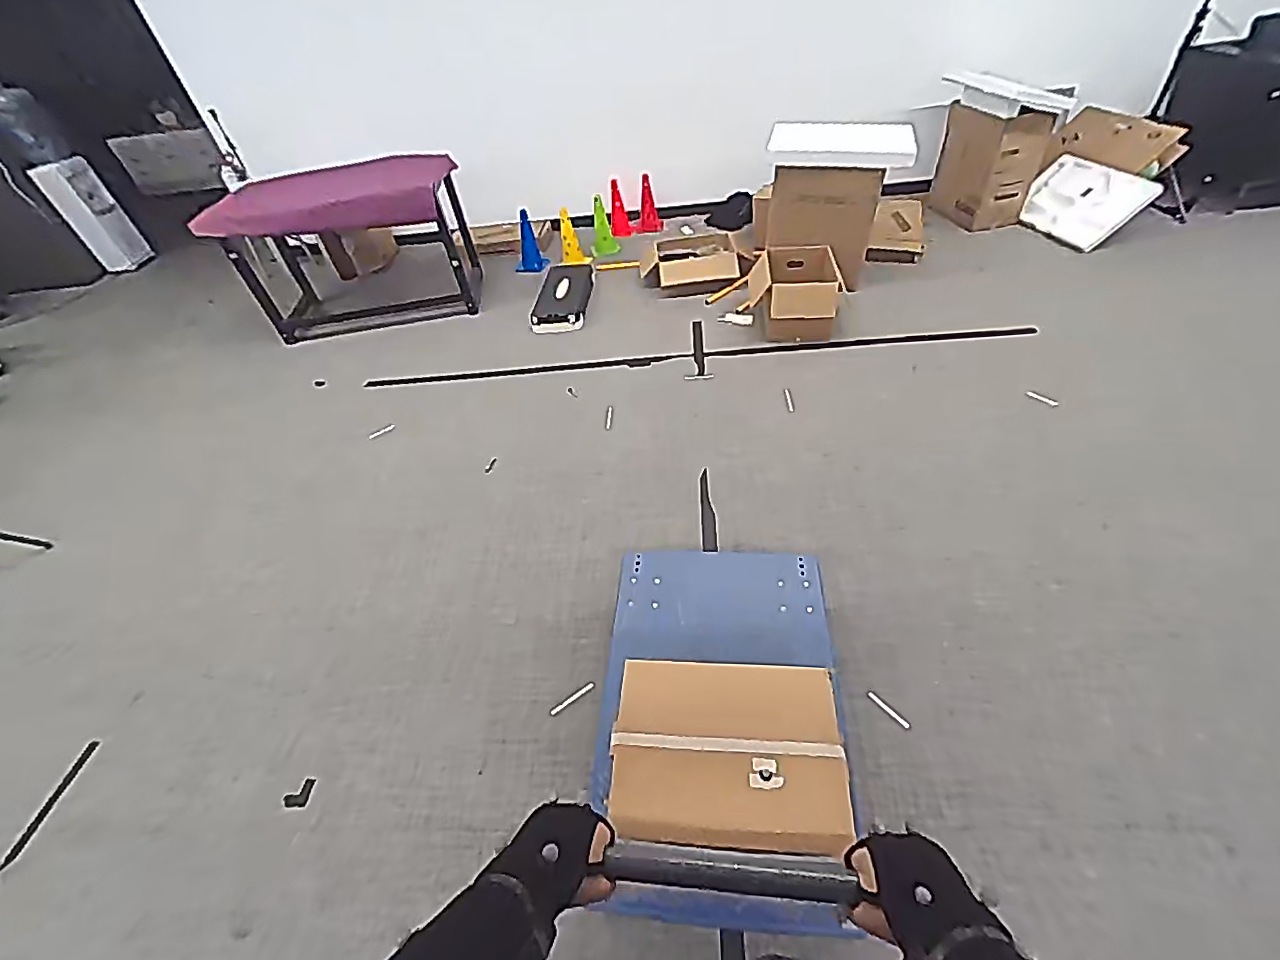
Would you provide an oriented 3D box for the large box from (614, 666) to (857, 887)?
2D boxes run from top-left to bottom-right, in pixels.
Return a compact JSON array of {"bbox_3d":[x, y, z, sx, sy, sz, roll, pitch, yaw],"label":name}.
[{"bbox_3d":[0.172,0.593,1.088,0.408,0.320,0.320,0,46,7],"label":"large box"}]
